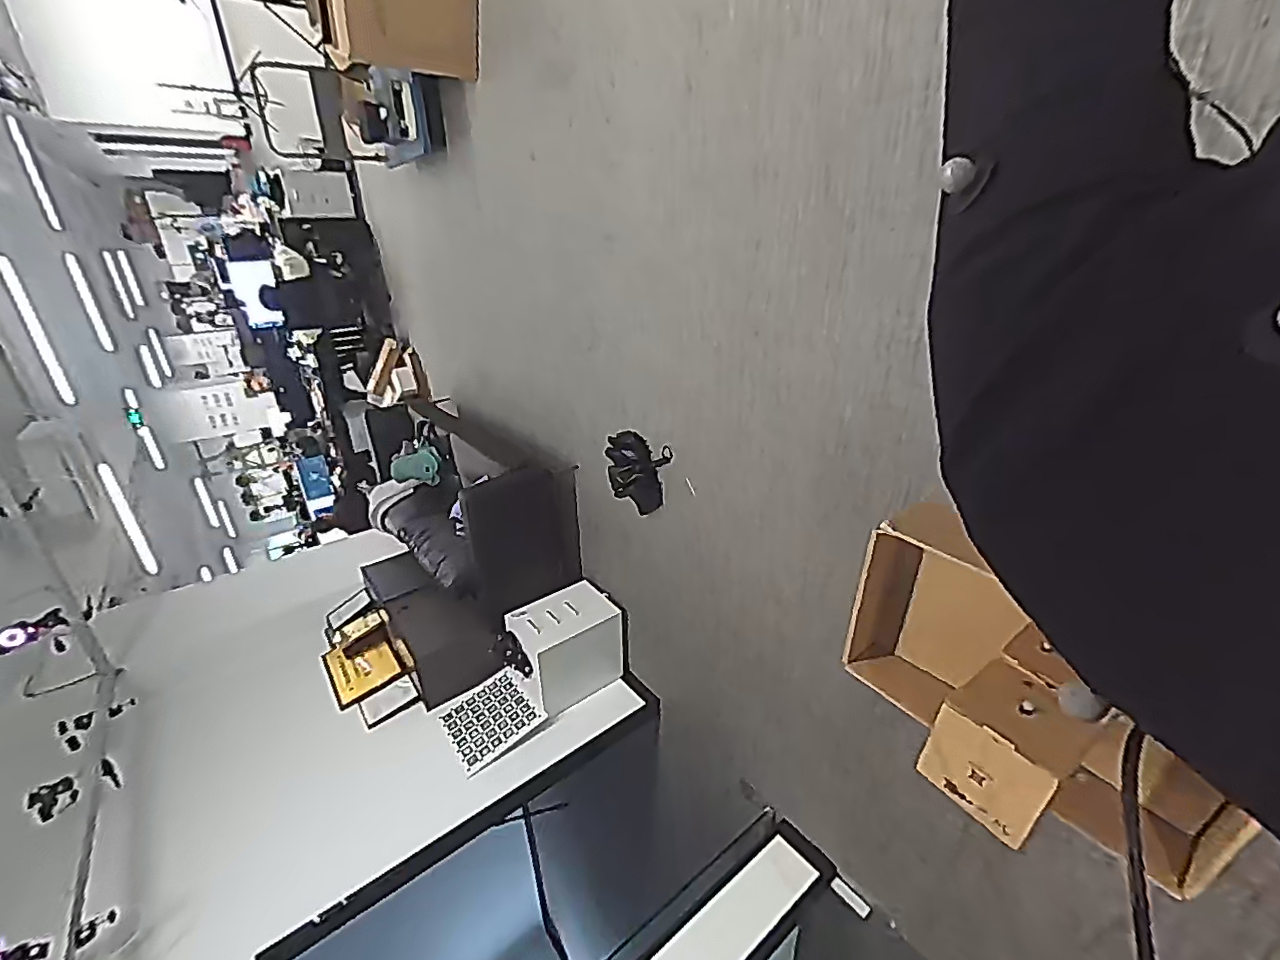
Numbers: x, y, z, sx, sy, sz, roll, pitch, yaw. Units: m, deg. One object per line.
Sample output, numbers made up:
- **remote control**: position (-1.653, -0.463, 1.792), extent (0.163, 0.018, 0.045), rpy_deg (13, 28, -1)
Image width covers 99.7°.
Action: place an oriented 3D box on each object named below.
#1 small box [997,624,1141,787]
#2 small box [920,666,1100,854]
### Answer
- **small box**: position (0.731, 0.387, 0.953), extent (0.168, 0.176, 0.179), rpy_deg (36, 136, 46)
- **small box**: position (0.596, 0.439, 0.875), extent (0.168, 0.176, 0.179), rpy_deg (36, 133, 46)
